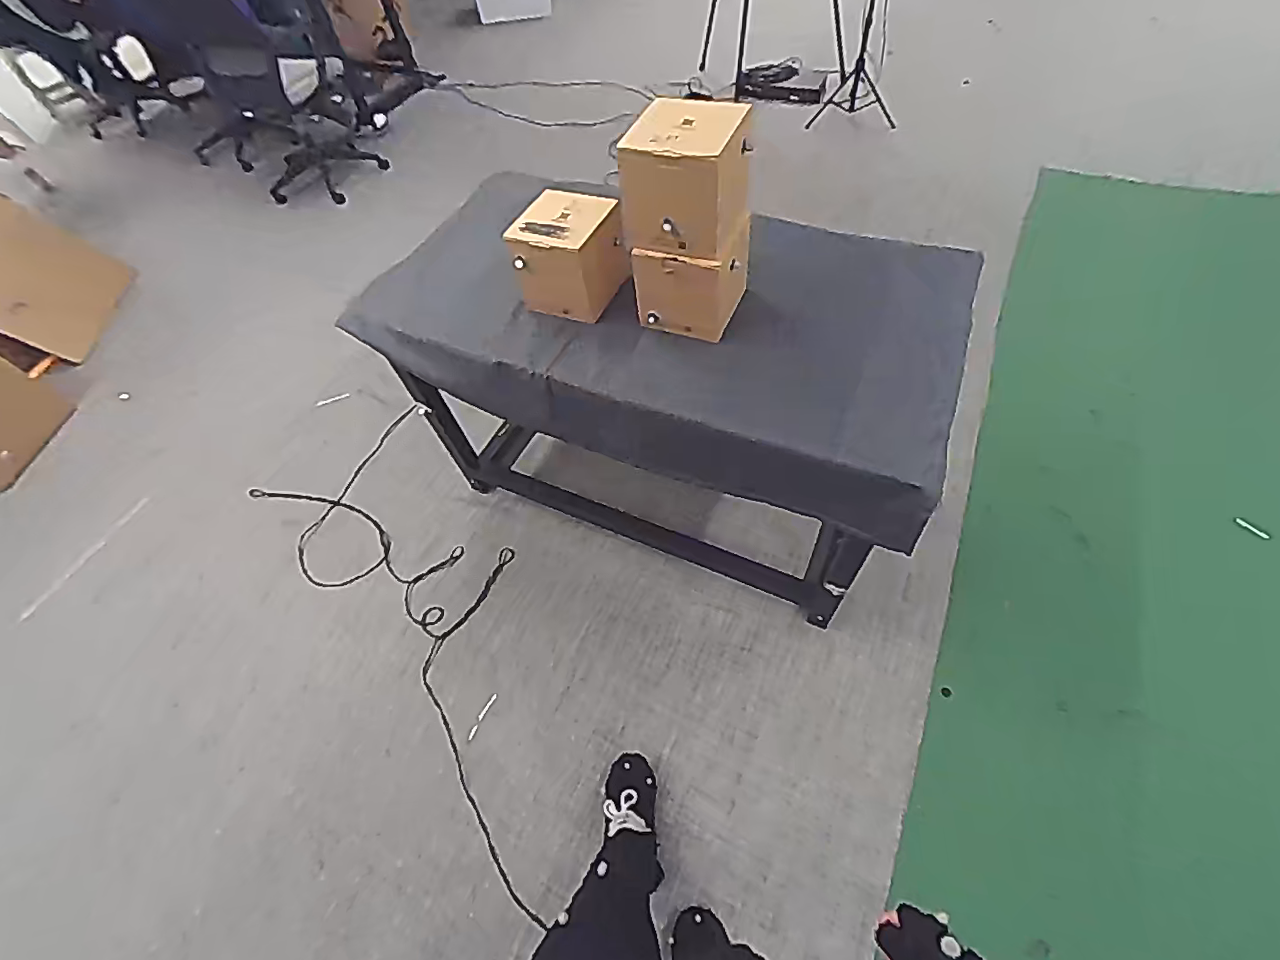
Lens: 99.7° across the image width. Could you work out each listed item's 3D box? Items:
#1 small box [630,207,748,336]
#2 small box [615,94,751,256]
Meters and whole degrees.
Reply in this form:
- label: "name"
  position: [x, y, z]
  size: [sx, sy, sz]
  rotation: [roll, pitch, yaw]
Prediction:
- label: "small box"
  position: [0.098, -0.400, 1.025]
  size: [0.168, 0.176, 0.179]
  rotation: [18, 60, 18]
- label: "small box"
  position: [0.075, -0.505, 0.900]
  size: [0.168, 0.176, 0.179]
  rotation: [16, 61, 18]
